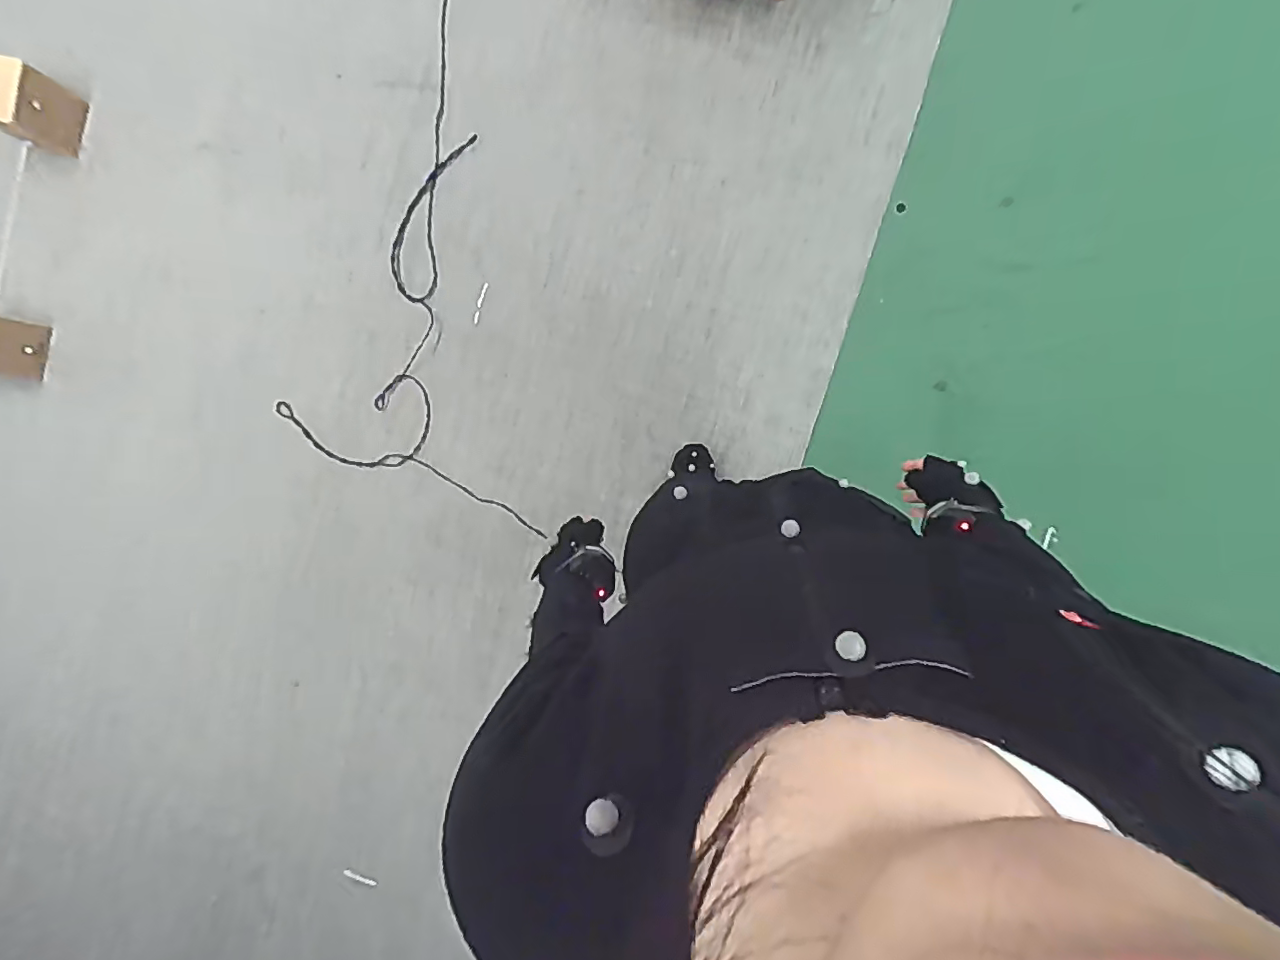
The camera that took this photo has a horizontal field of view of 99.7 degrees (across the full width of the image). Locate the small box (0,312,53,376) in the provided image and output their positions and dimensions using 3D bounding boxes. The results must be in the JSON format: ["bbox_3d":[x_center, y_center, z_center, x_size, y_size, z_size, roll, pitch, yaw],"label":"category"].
[{"bbox_3d":[-1.916,-0.413,1.594,0.179,0.176,0.168,15,94,5],"label":"small box"}]

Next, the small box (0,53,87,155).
[{"bbox_3d":[-1.753,-1.077,1.546,0.168,0.176,0.179,15,95,4],"label":"small box"}]
